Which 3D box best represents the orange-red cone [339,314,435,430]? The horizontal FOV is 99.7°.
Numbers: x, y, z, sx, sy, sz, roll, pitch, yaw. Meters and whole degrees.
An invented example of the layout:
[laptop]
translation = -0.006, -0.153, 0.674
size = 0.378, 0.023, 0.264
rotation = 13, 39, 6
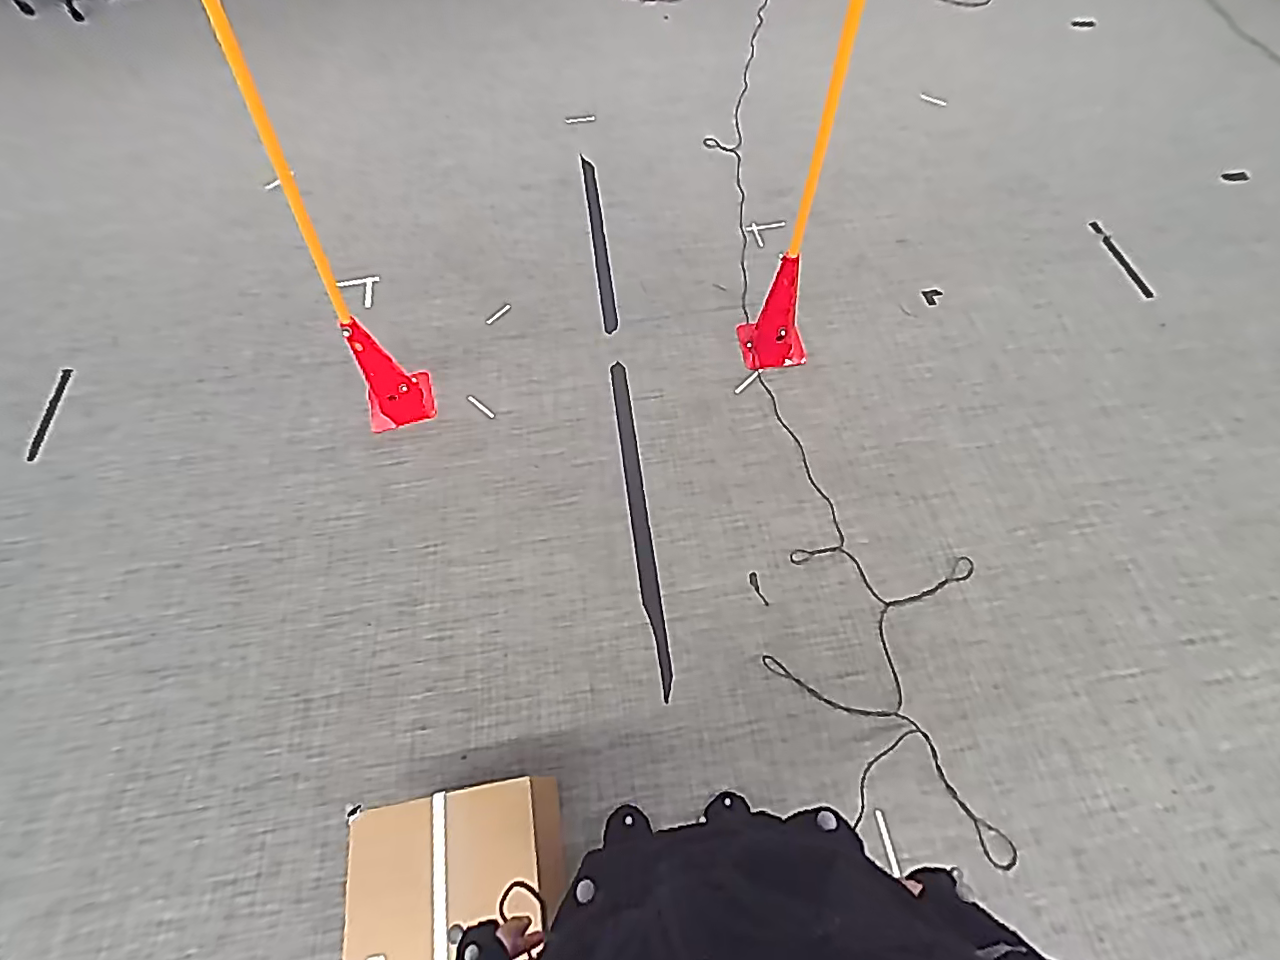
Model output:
[orange-red cone]
translation = -0.763, -0.336, 1.566
size = 0.199, 0.360, 0.198
rotation = -16, 62, -5
